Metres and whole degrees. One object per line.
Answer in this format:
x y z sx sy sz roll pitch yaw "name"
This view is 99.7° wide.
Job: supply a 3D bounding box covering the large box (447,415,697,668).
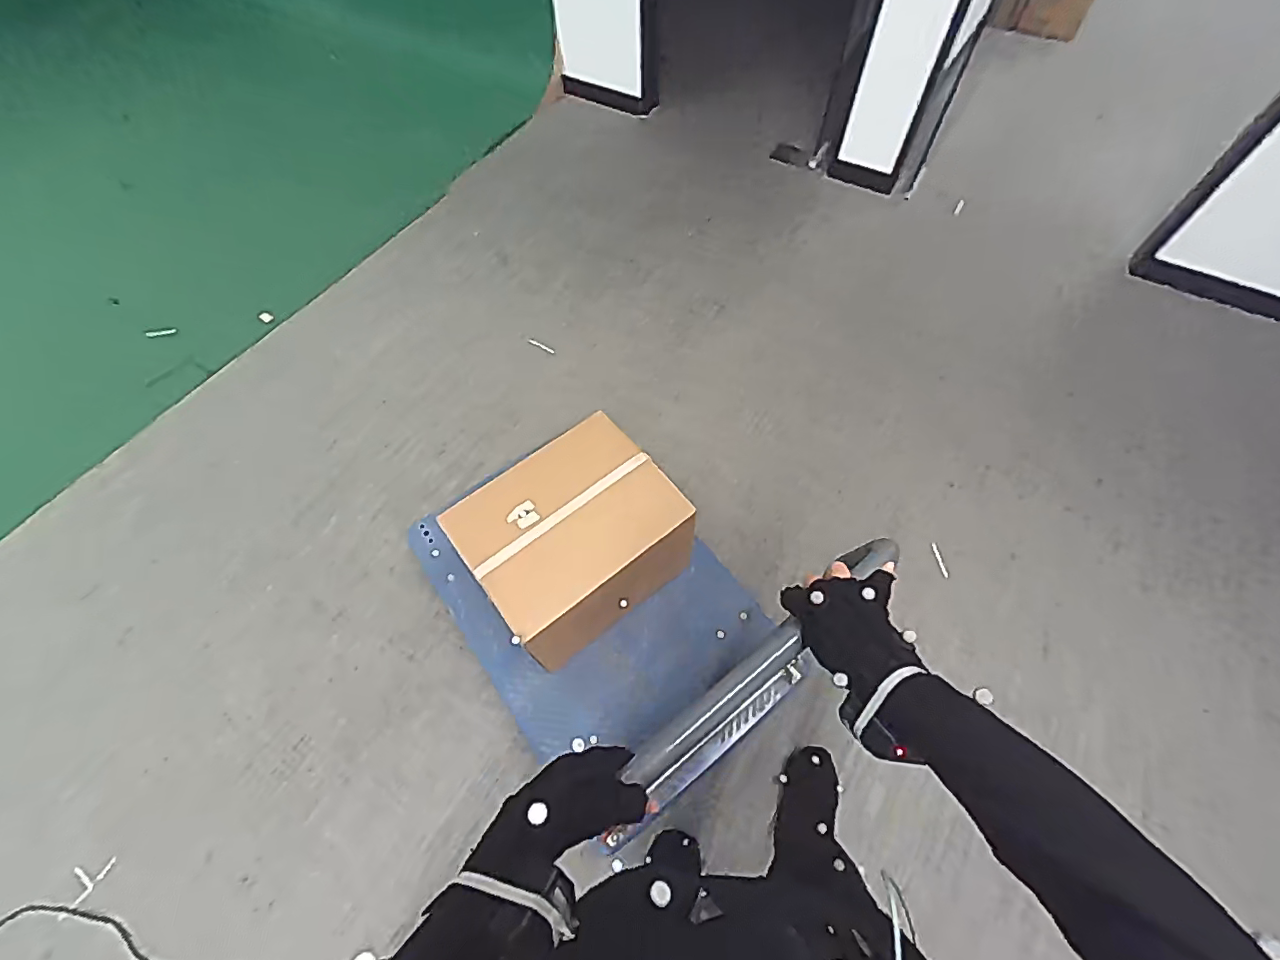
-0.128 0.141 1.184 0.408 0.320 0.320 -36 66 -16 "large box"
